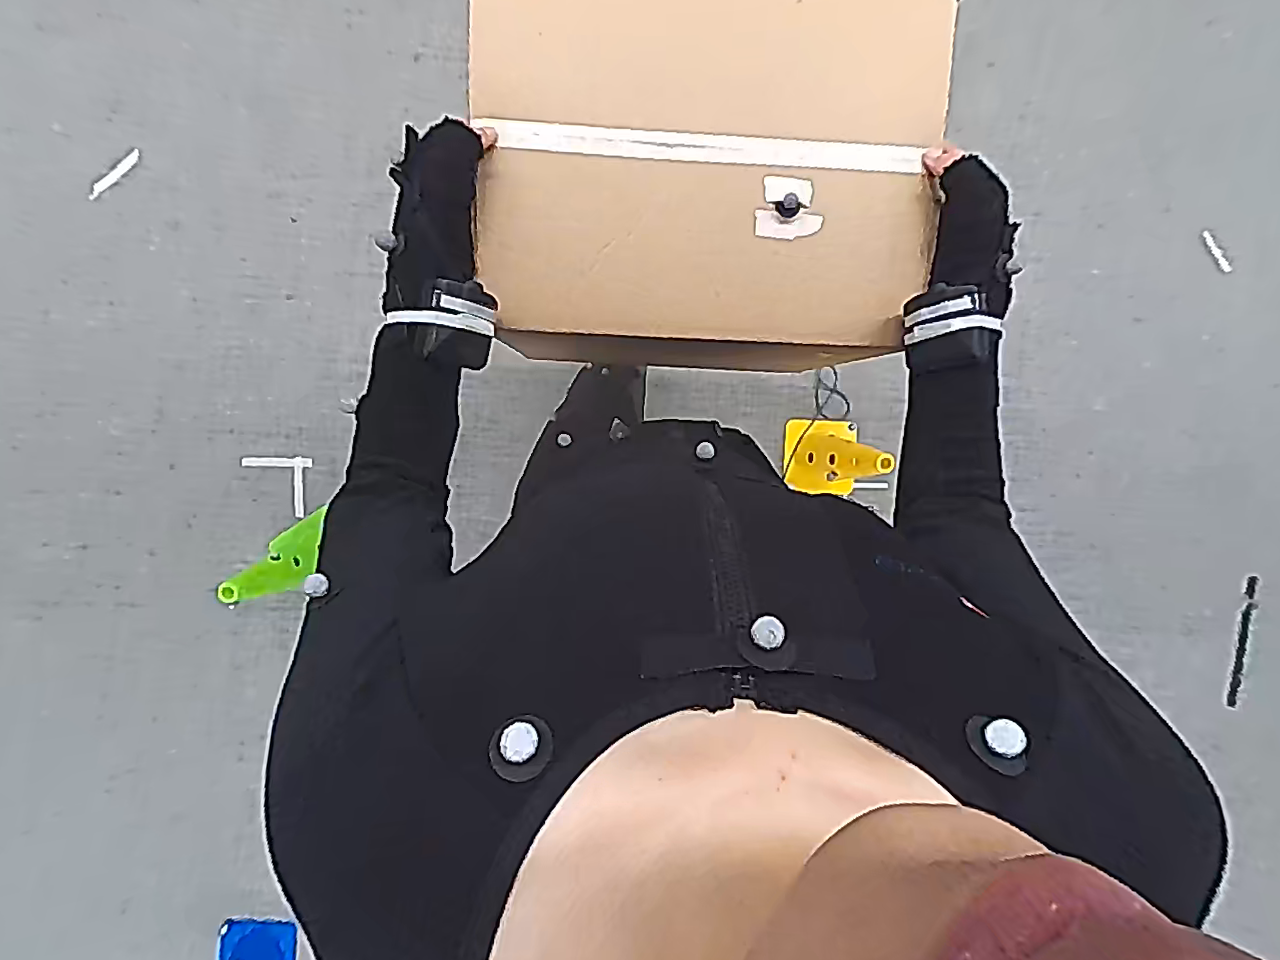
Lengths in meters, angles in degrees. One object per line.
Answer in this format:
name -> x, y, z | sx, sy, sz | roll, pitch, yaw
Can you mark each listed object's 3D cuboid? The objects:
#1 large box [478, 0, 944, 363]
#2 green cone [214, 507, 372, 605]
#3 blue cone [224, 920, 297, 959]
large box -> 0.050, -0.307, 0.614 | 0.408, 0.320, 0.320 | 2, 97, -5
green cone -> -0.824, 0.209, 1.242 | 0.202, 0.368, 0.200 | -34, 95, 1
blue cone -> -1.039, 1.317, 1.326 | 0.192, 0.380, 0.193 | 6, 93, -3
